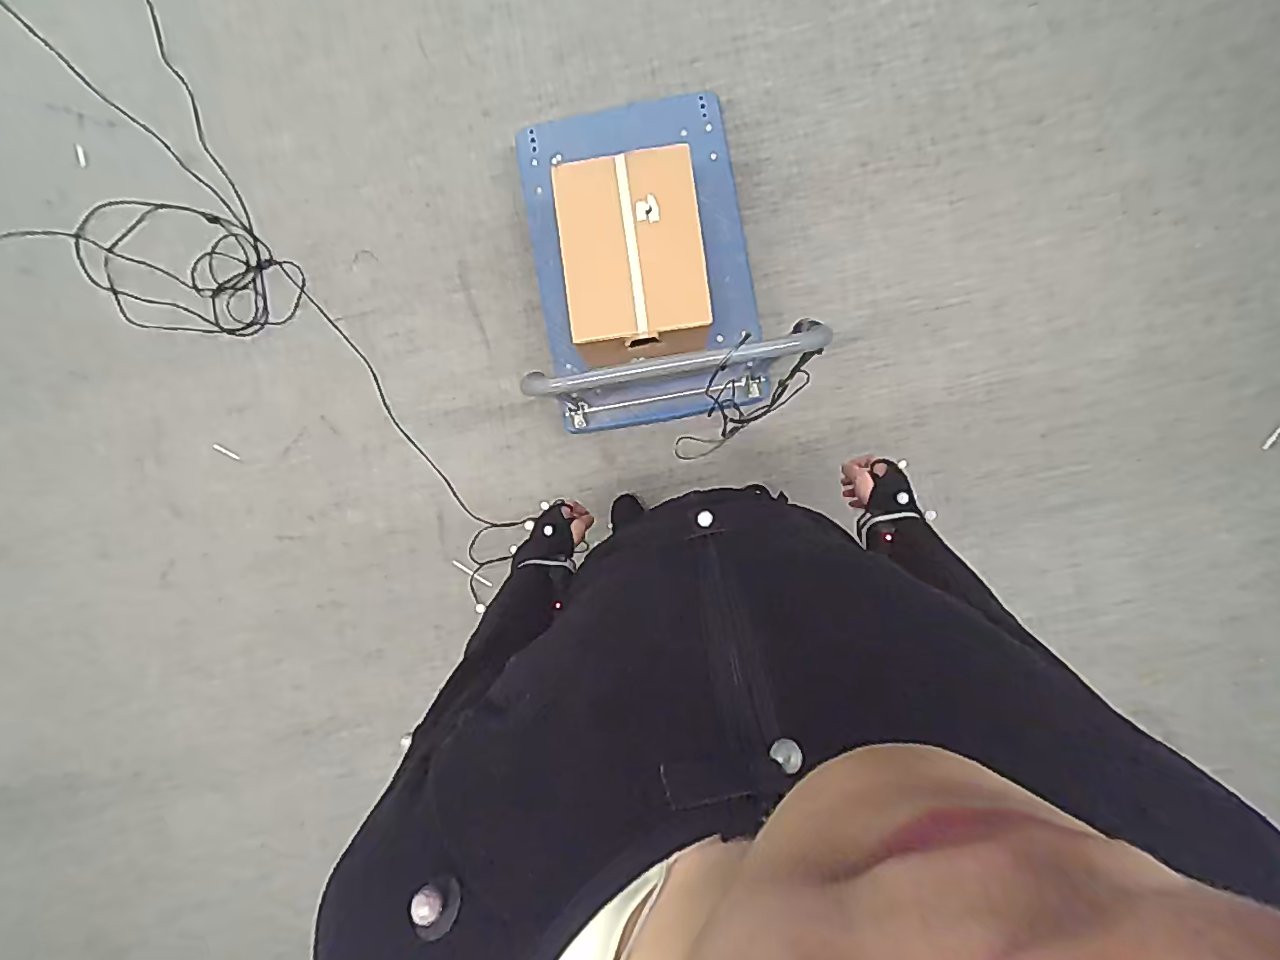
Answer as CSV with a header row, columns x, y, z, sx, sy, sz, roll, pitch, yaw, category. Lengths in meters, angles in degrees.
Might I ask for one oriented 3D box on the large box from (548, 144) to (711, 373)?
x,y,z,sx,sy,sz,roll,pitch,yaw,category
-0.017,-0.510,1.324,0.320,0.320,0.408,-7,88,2,large box
